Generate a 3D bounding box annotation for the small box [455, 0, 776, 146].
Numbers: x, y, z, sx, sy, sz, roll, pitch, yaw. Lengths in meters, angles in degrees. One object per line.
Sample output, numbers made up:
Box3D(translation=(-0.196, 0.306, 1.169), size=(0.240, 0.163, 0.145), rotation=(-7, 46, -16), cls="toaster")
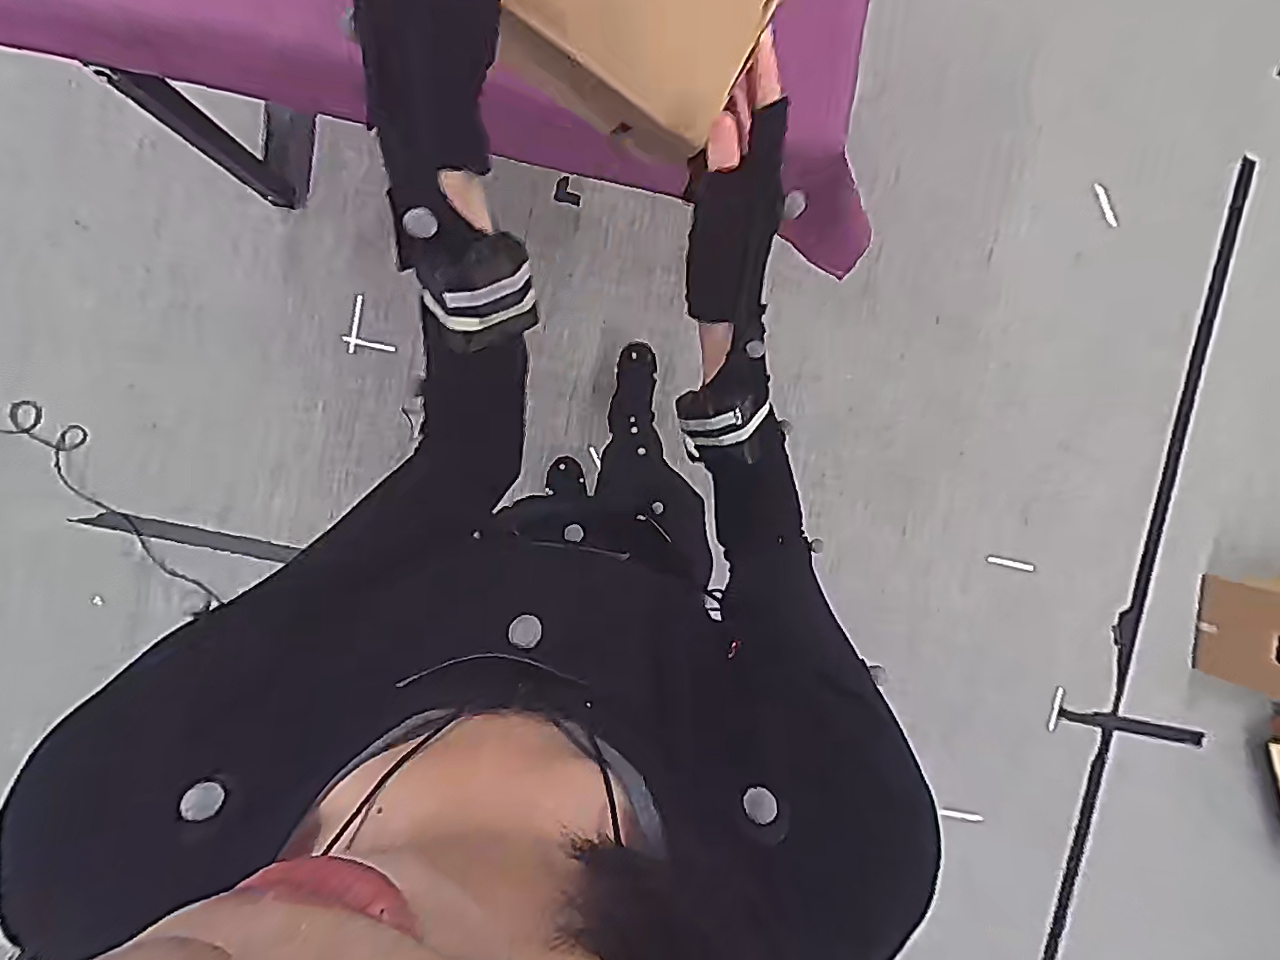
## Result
Box3D(translation=(-0.009, -0.346, 0.350), size=(0.179, 0.176, 0.168), rotation=(22, 109, -21), cls="small box")
